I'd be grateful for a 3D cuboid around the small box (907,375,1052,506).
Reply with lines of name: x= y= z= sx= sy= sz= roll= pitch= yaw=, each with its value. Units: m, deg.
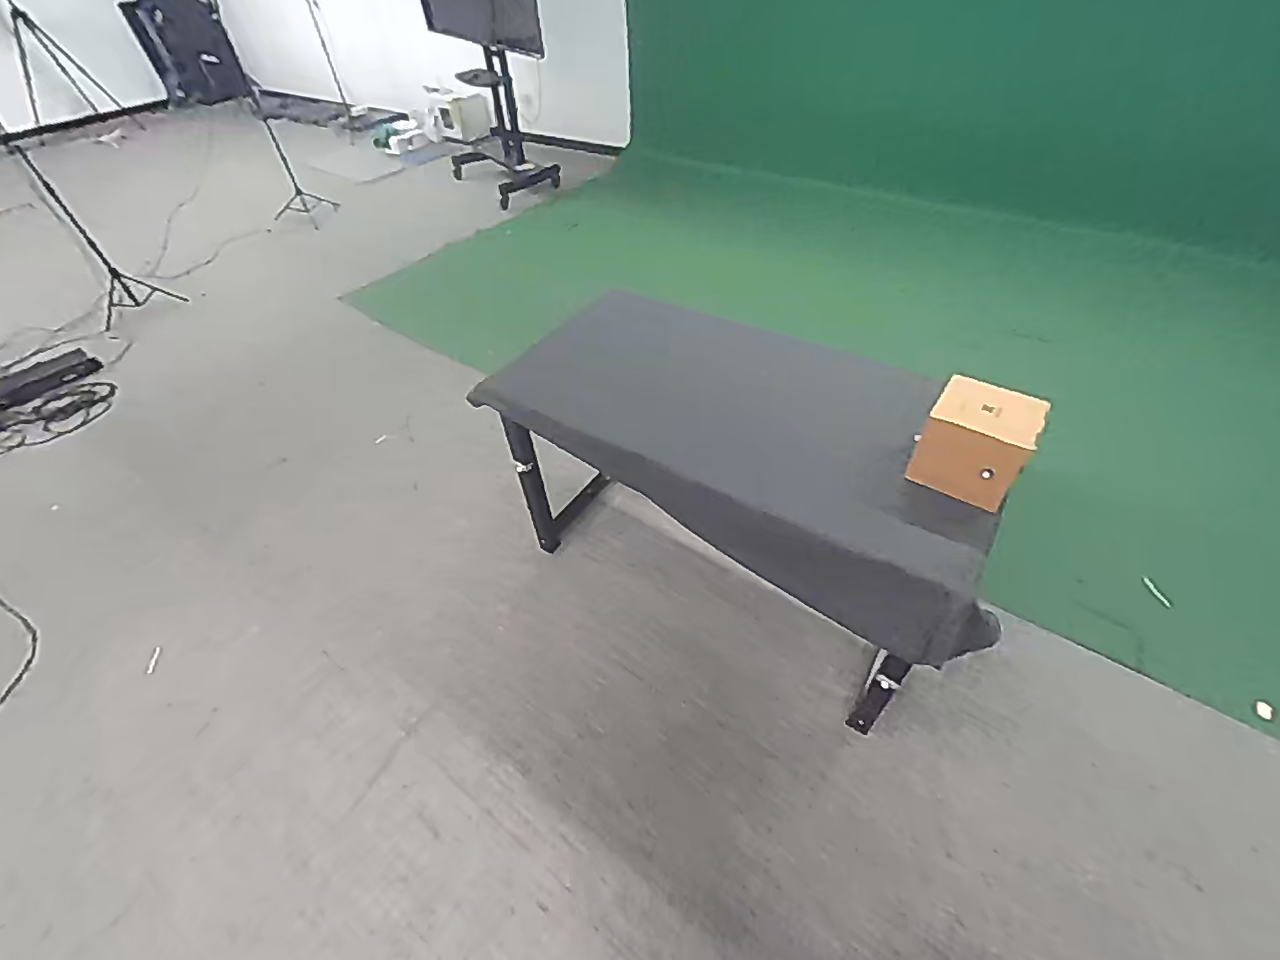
small box: x=0.660 y=-0.075 z=1.065 sx=0.179 sy=0.176 sz=0.168 roll=26 pitch=52 yaw=28
